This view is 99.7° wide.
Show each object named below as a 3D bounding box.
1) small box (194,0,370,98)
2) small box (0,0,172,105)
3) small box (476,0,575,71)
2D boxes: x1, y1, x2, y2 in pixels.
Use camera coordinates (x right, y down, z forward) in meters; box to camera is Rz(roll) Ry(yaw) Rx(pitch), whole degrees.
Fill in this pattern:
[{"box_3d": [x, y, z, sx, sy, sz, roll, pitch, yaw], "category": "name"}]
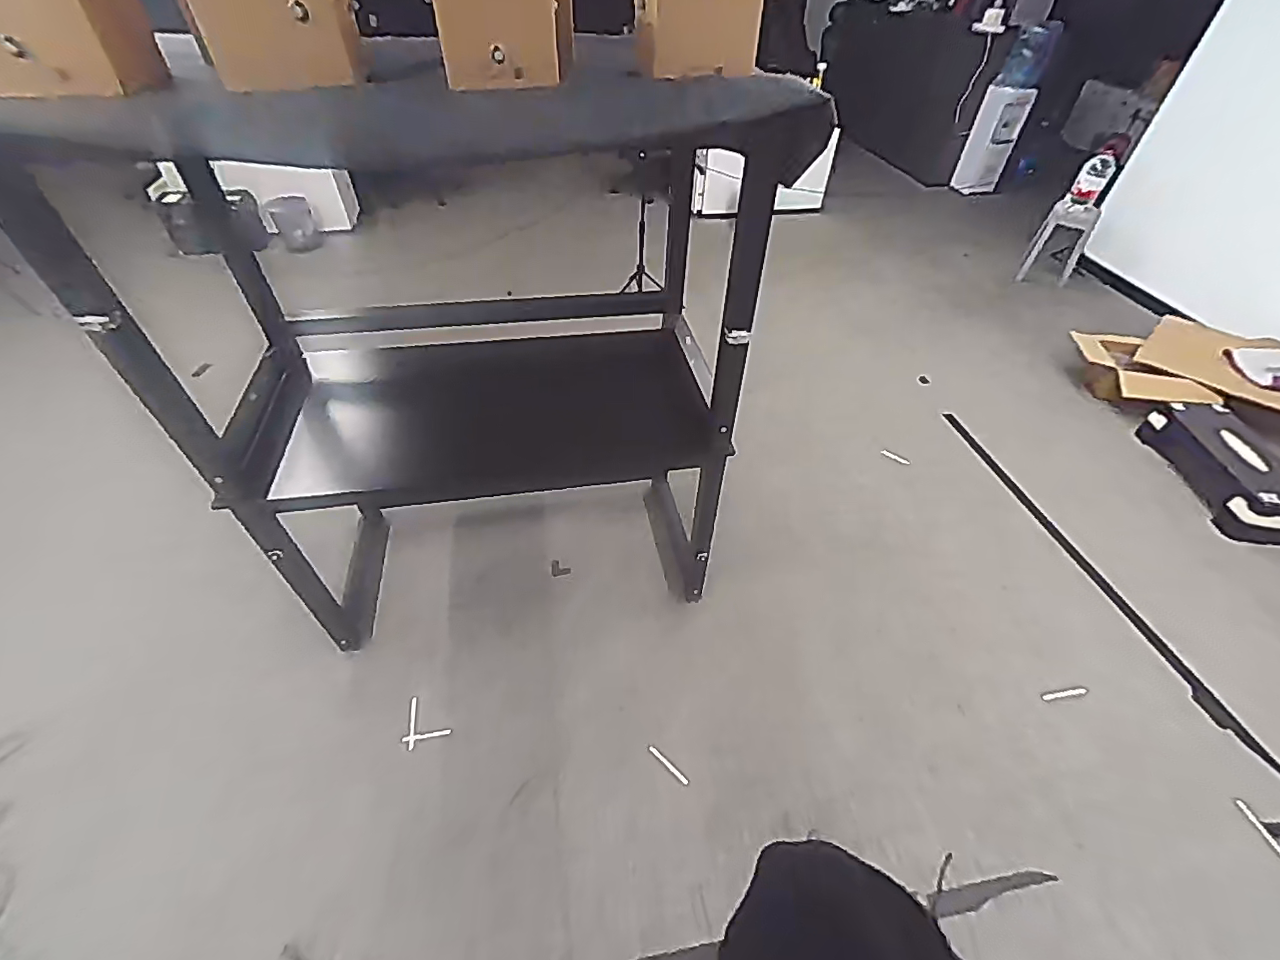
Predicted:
[{"box_3d": [-0.508, -0.664, 0.777, 0.179, 0.176, 0.168, -7, 44, -12], "category": "small box"}, {"box_3d": [-0.783, -0.623, 0.725, 0.168, 0.176, 0.179, -9, 47, -11], "category": "small box"}, {"box_3d": [-0.208, -0.864, 0.983, 0.168, 0.176, 0.179, -6, 45, -7], "category": "small box"}]
